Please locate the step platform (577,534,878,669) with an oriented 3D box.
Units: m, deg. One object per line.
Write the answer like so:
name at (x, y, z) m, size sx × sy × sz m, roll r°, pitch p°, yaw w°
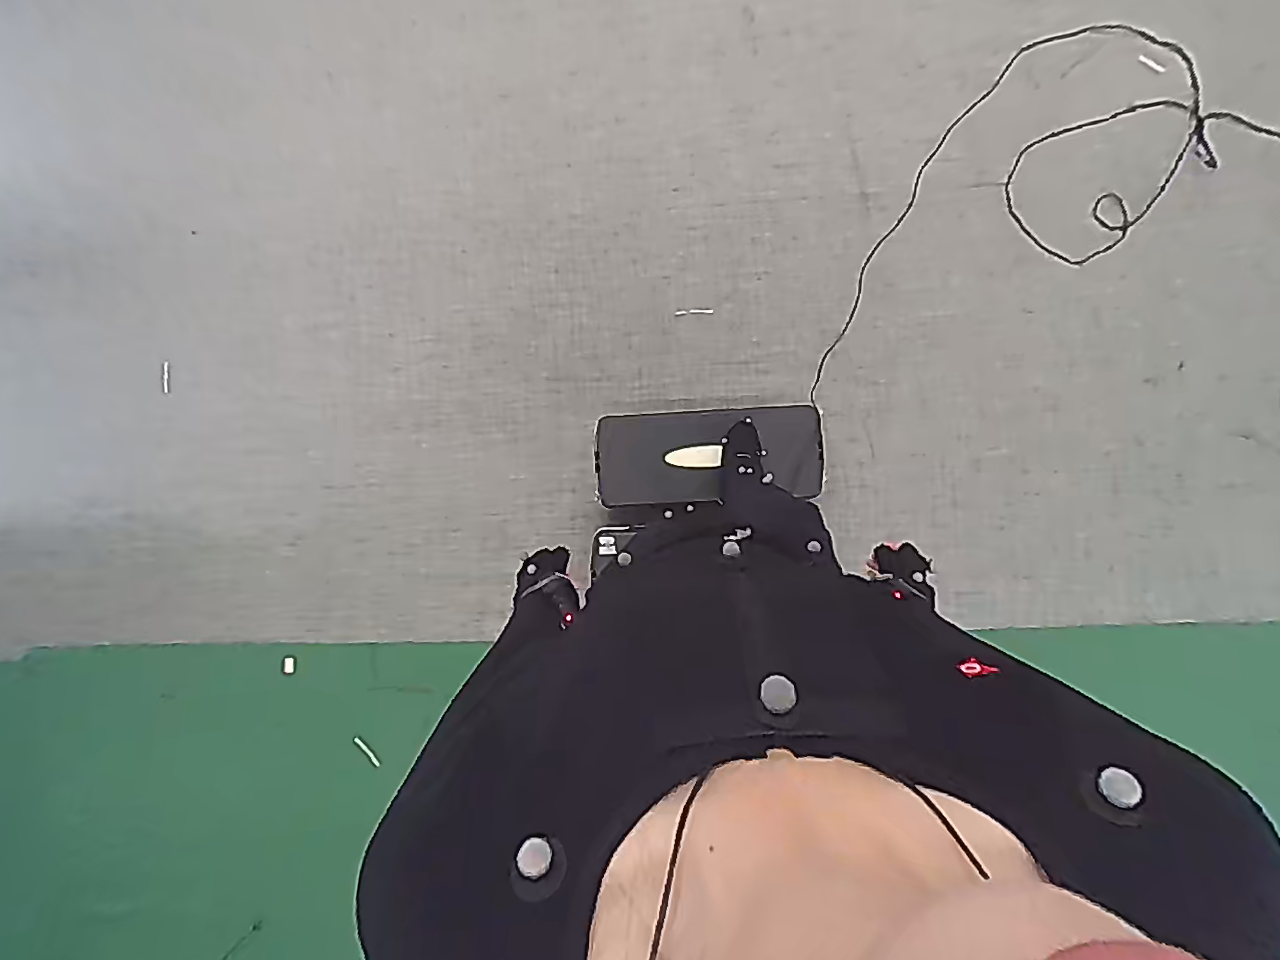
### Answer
step platform at (0.198, 0.286, 1.325) m, size 0.684 × 0.204 × 0.286 m, roll -2°, pitch 87°, yaw 3°
